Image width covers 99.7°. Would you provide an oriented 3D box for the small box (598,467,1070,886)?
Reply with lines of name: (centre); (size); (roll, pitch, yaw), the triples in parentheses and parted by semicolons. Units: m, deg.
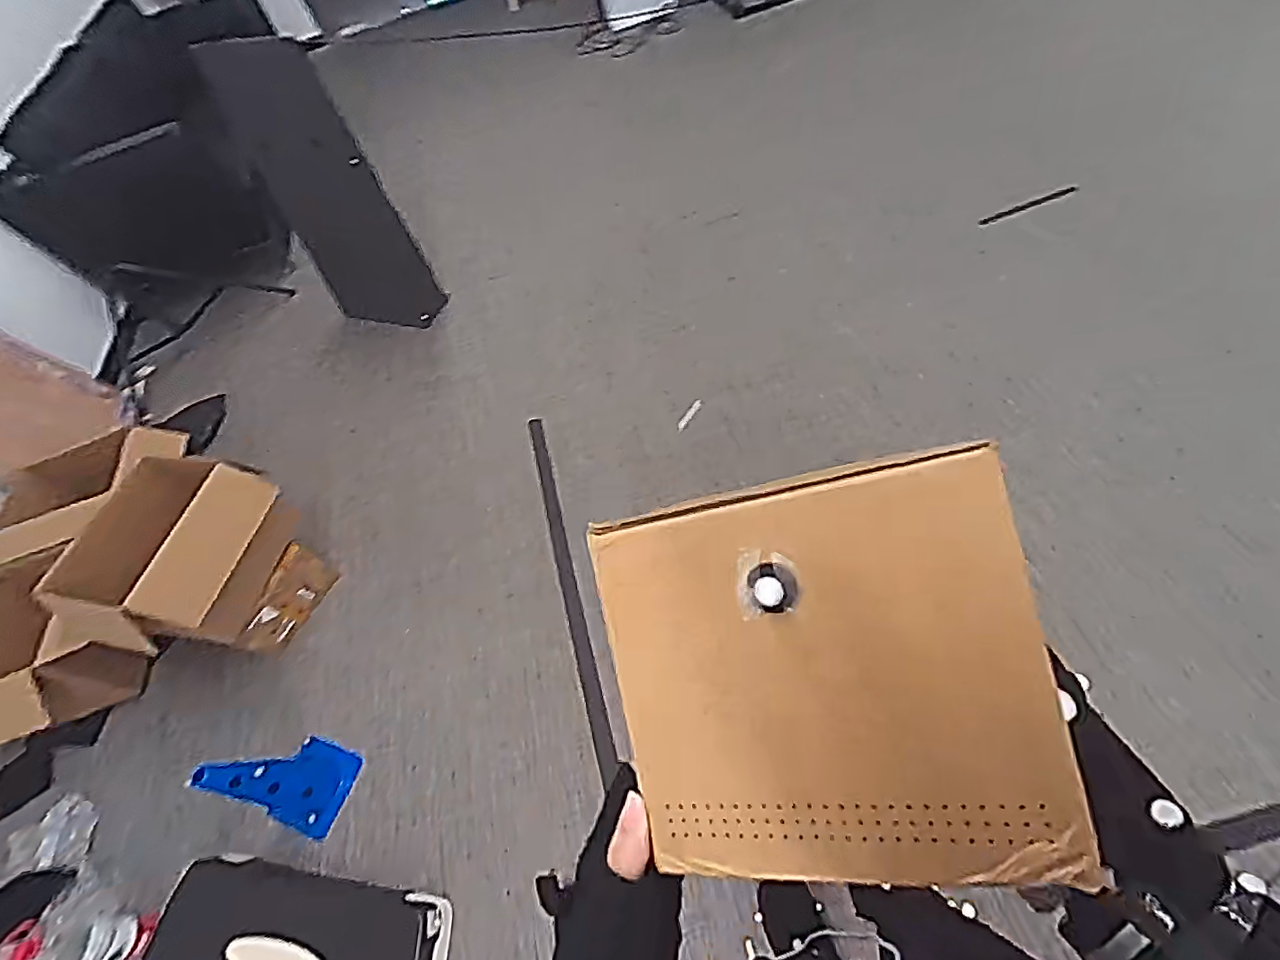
small box: (0.103, 0.093, 0.313); (0.179, 0.168, 0.176); (-14, 87, 24)
